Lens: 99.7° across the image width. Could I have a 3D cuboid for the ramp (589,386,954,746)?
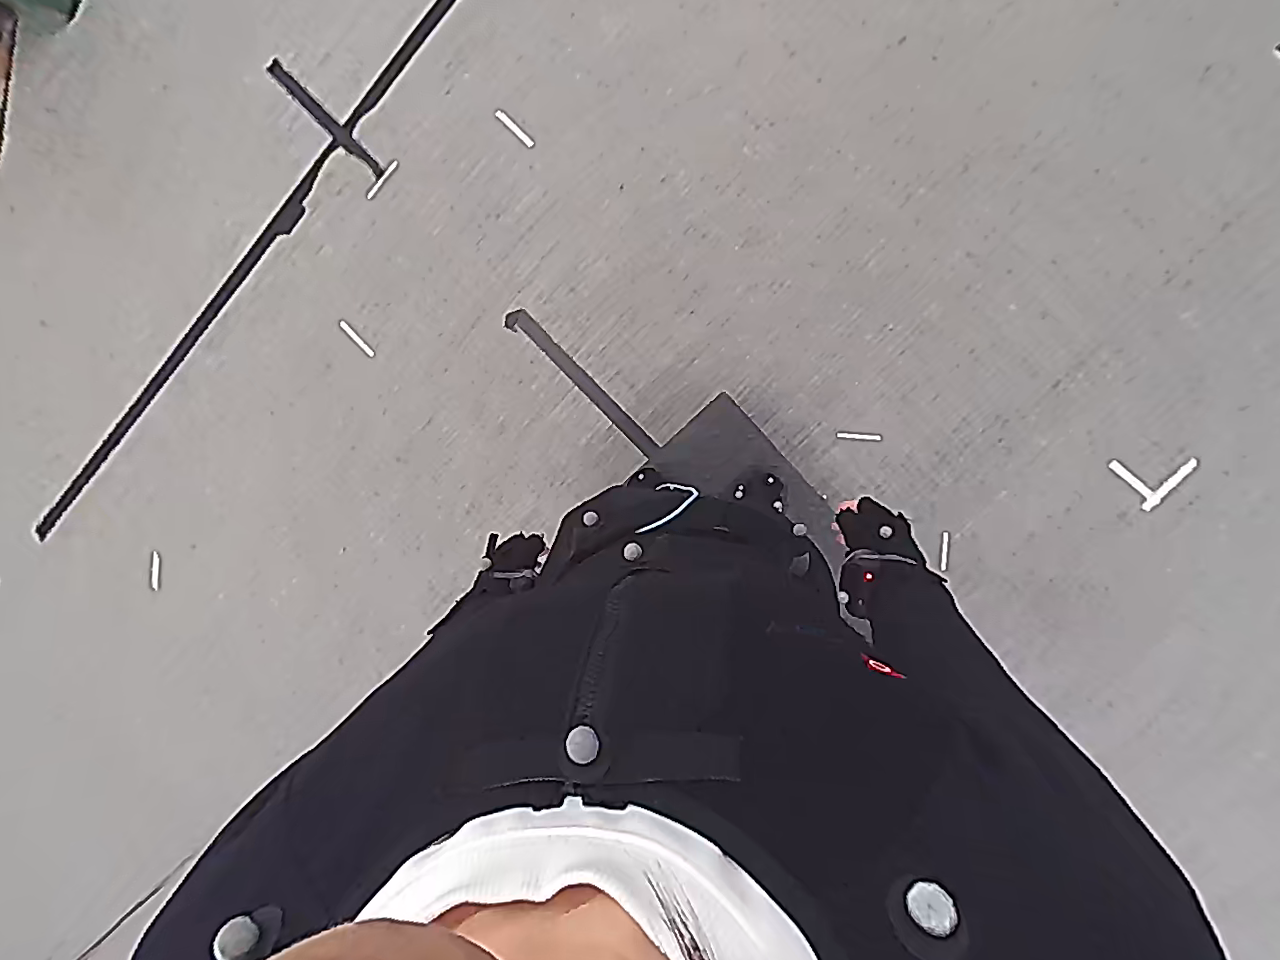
[{"bbox_3d":[0.375,0.266,1.486,0.509,0.206,0.991,-45,88,7],"label":"ramp"}]
